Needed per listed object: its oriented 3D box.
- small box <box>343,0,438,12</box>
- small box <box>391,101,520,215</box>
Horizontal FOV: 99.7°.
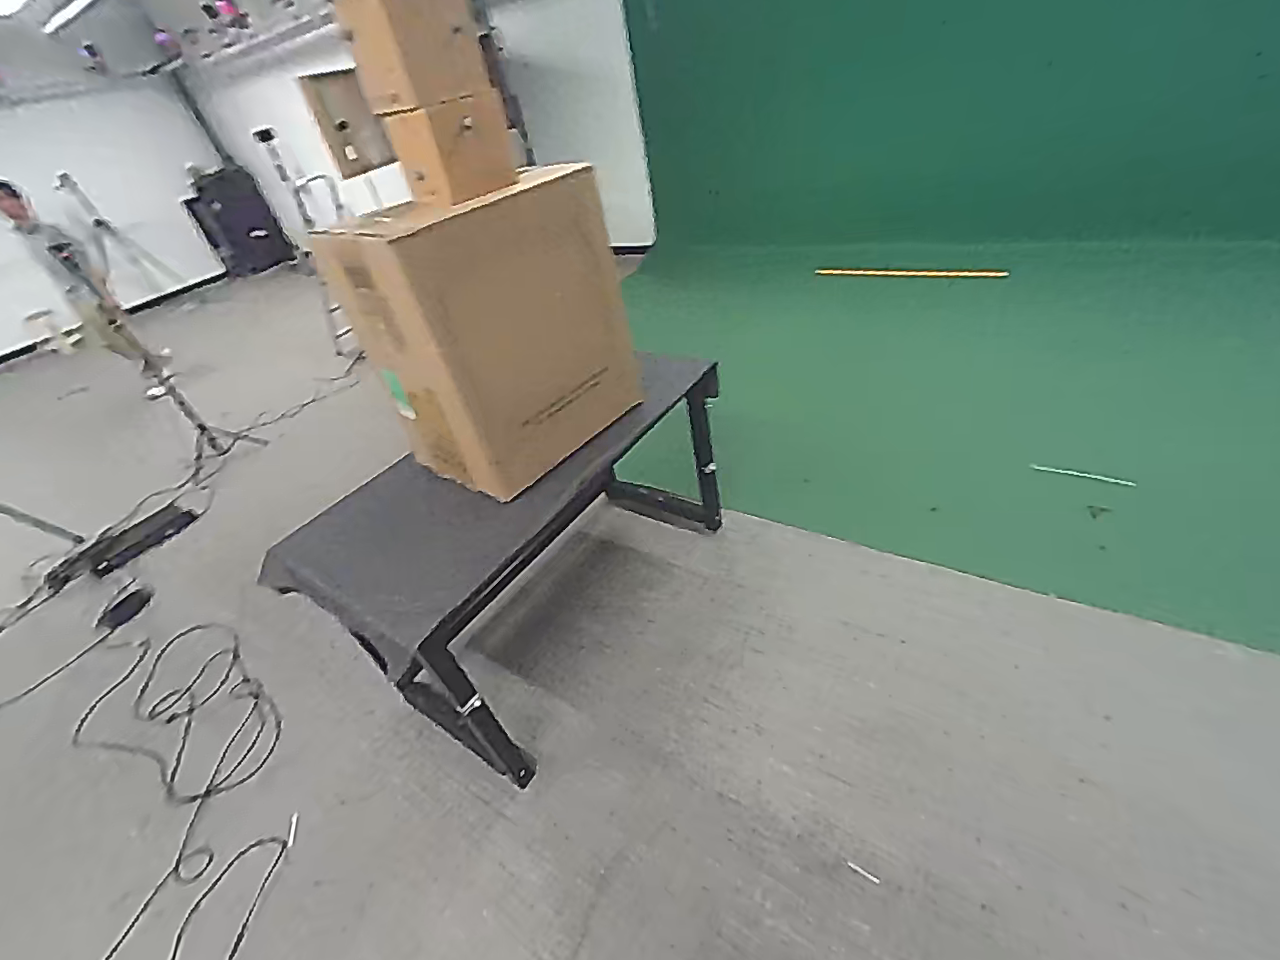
[{"bbox_3d":[-0.427,-0.915,0.911,0.168,0.176,0.179,25,51,37],"label":"small box"},{"bbox_3d":[-0.369,-0.665,1.117,0.168,0.176,0.179,24,51,36],"label":"small box"}]
